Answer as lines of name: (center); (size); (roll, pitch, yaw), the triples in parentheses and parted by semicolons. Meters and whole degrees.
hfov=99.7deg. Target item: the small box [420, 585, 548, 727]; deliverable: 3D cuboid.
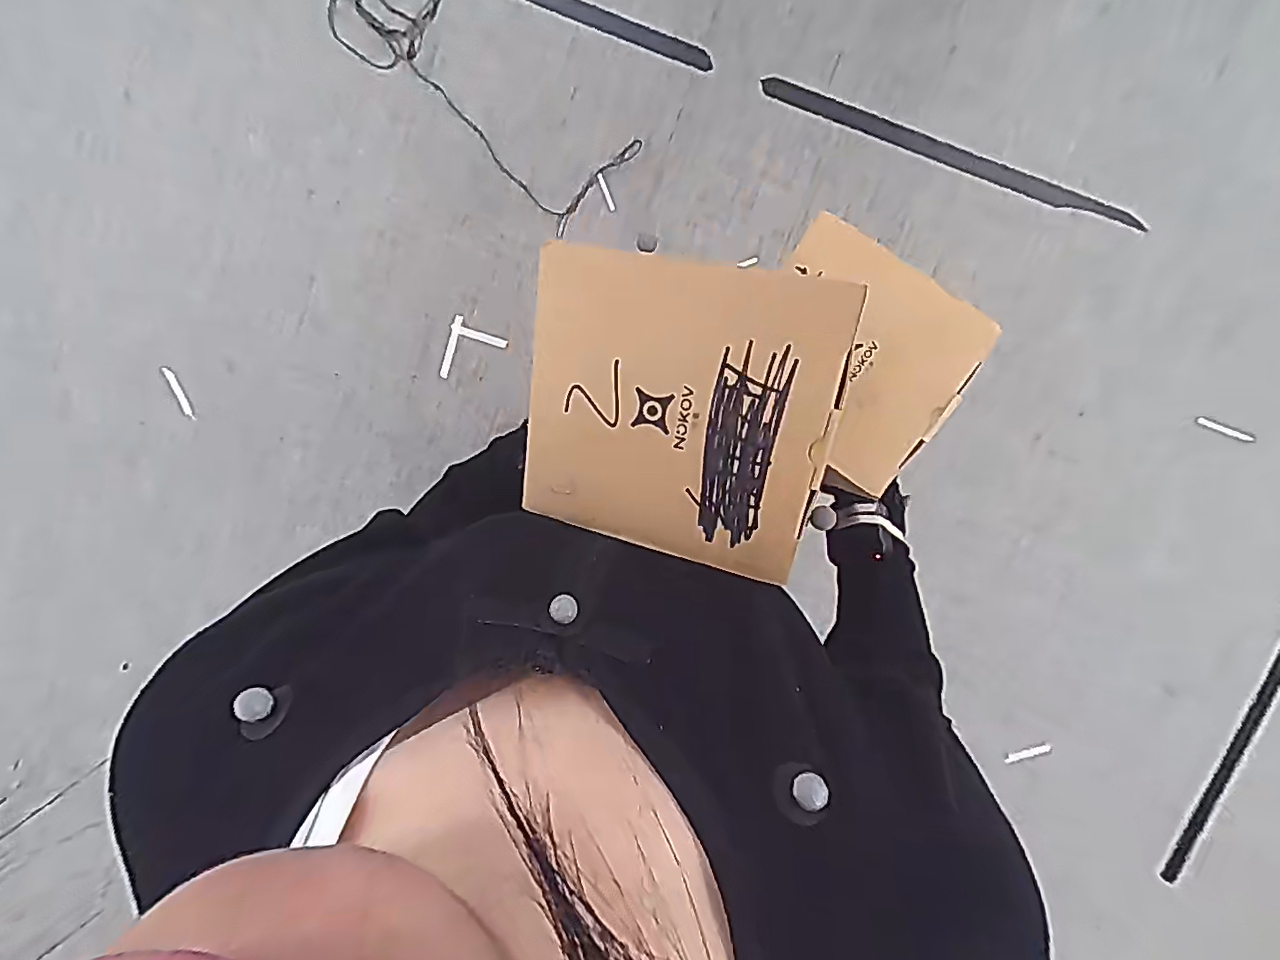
small box: (-0.273, 0.309, 0.986); (0.168, 0.176, 0.179); (13, 97, 1)

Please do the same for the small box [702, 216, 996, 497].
small box: (0.177, -0.107, 0.521); (0.179, 0.176, 0.168); (36, 95, 0)
